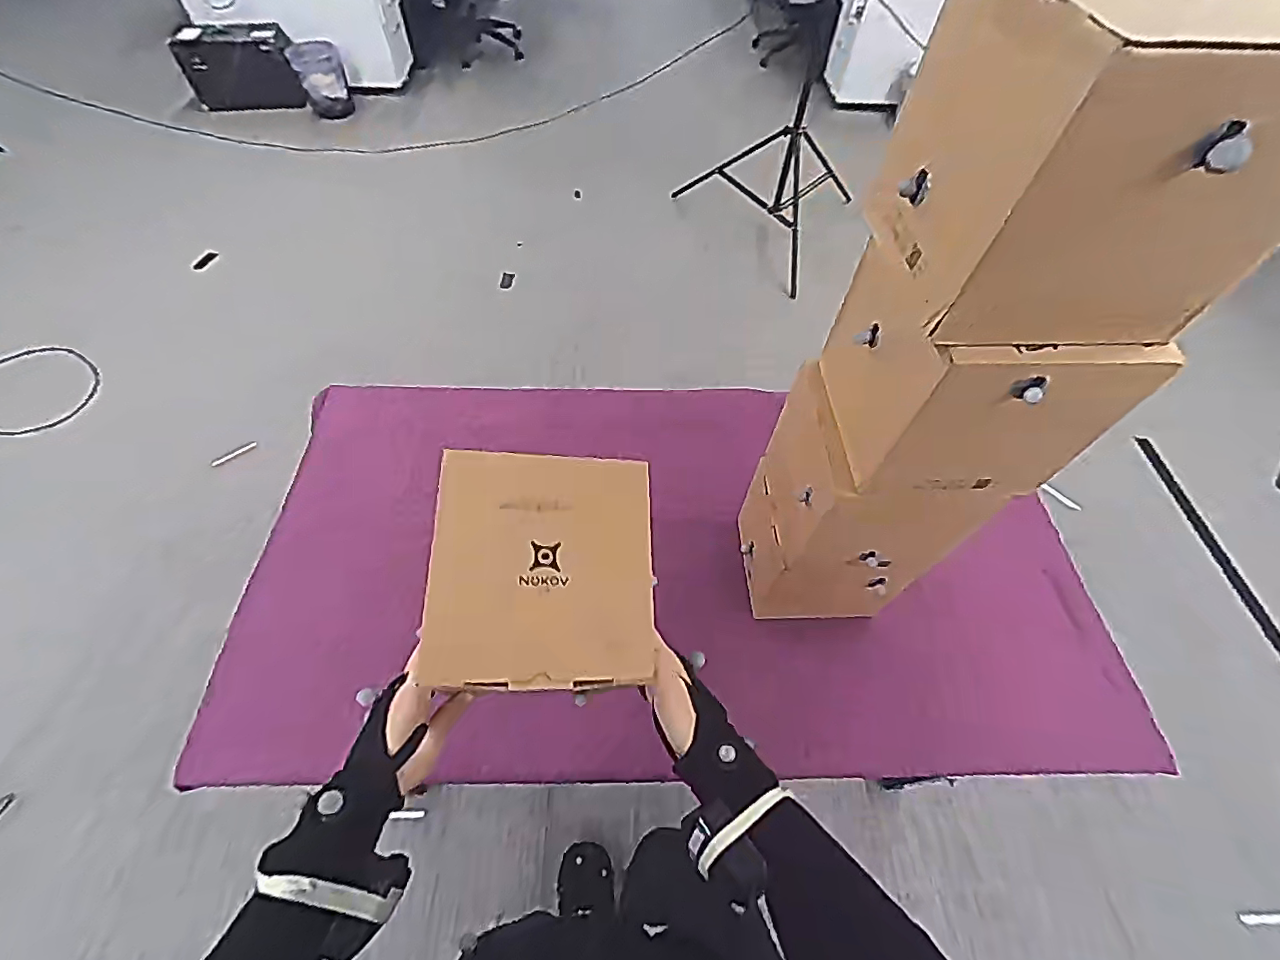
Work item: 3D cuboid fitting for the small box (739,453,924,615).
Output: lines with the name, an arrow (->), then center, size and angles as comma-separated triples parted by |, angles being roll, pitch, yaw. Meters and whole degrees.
small box -> 0.245, 0.078, 0.741 | 0.179, 0.176, 0.168 | -1, 55, -2

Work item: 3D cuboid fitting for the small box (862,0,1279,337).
small box -> 0.273, -0.206, 0.342 | 0.179, 0.176, 0.168 | -2, 56, -3

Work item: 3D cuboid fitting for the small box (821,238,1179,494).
small box -> 0.275, -0.105, 0.471 | 0.168, 0.176, 0.179 | -1, 56, -3

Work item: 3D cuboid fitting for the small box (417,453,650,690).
small box -> -0.090, 0.093, 0.483 | 0.168, 0.176, 0.179 | 3, 67, -13
